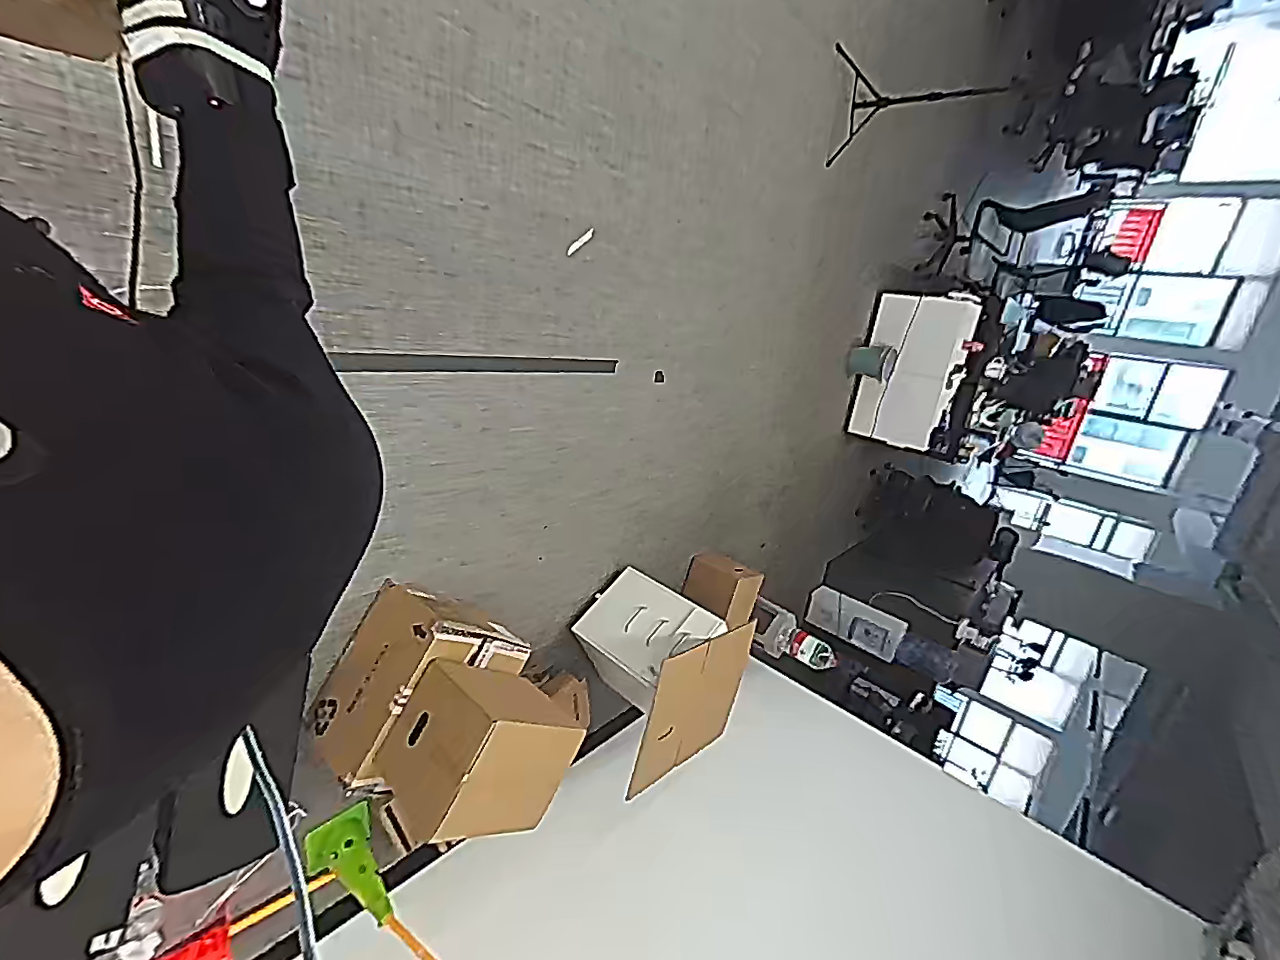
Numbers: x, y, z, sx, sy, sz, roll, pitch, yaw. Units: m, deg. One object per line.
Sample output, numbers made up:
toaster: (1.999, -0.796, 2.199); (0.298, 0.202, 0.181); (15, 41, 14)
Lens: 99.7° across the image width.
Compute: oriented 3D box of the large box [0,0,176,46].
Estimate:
large box: (-0.546, -0.479, 0.261); (0.408, 0.320, 0.320); (-19, 126, -48)
